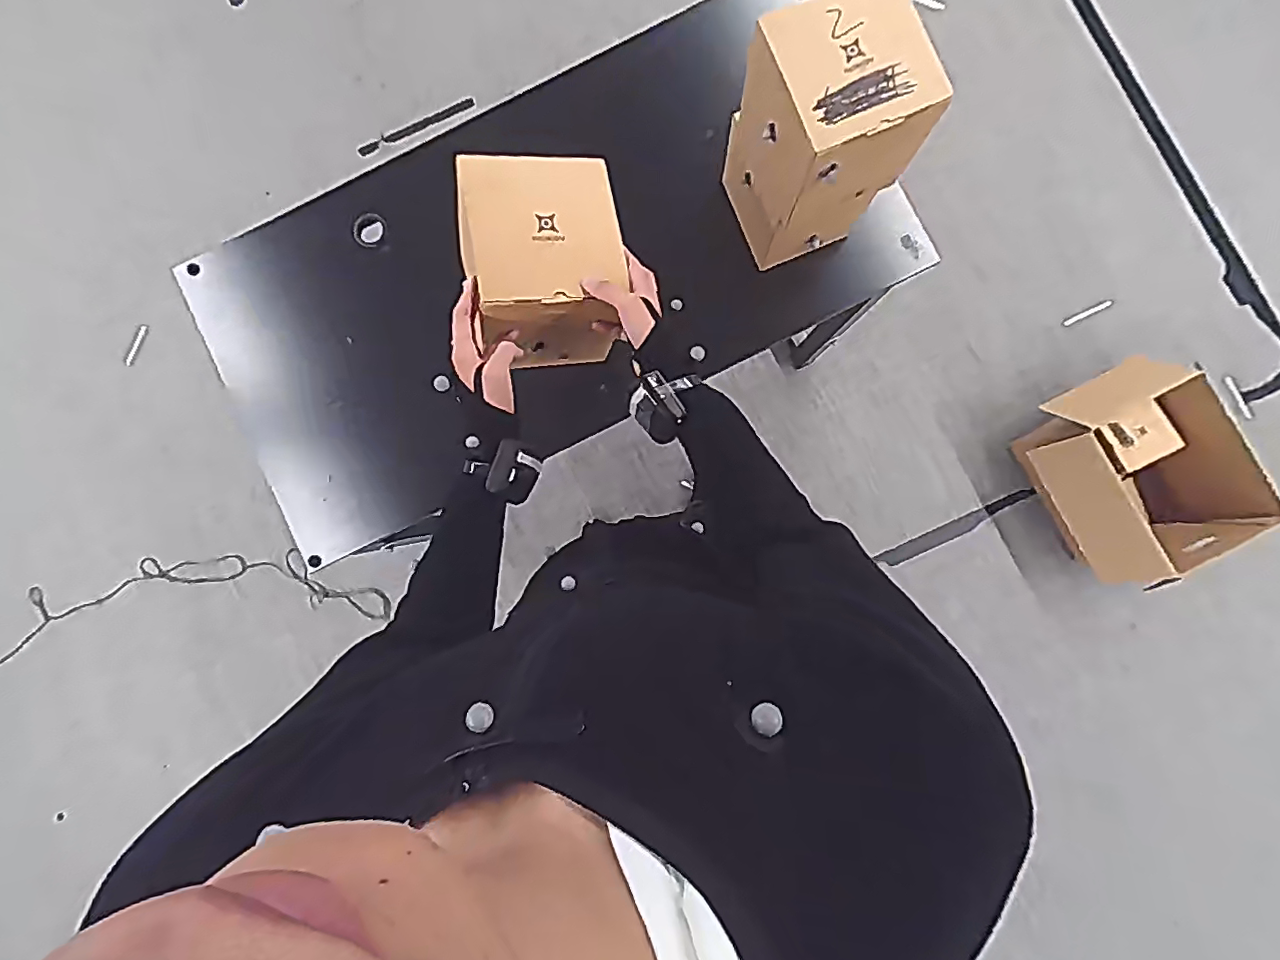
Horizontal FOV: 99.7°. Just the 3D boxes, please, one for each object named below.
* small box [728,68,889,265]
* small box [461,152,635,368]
[{"bbox_3d":[0.246,-0.470,0.838,0.168,0.176,0.179,-21,87,2],"label":"small box"},{"bbox_3d":[-0.120,-0.253,0.651,0.168,0.176,0.179,-9,80,-18],"label":"small box"}]
